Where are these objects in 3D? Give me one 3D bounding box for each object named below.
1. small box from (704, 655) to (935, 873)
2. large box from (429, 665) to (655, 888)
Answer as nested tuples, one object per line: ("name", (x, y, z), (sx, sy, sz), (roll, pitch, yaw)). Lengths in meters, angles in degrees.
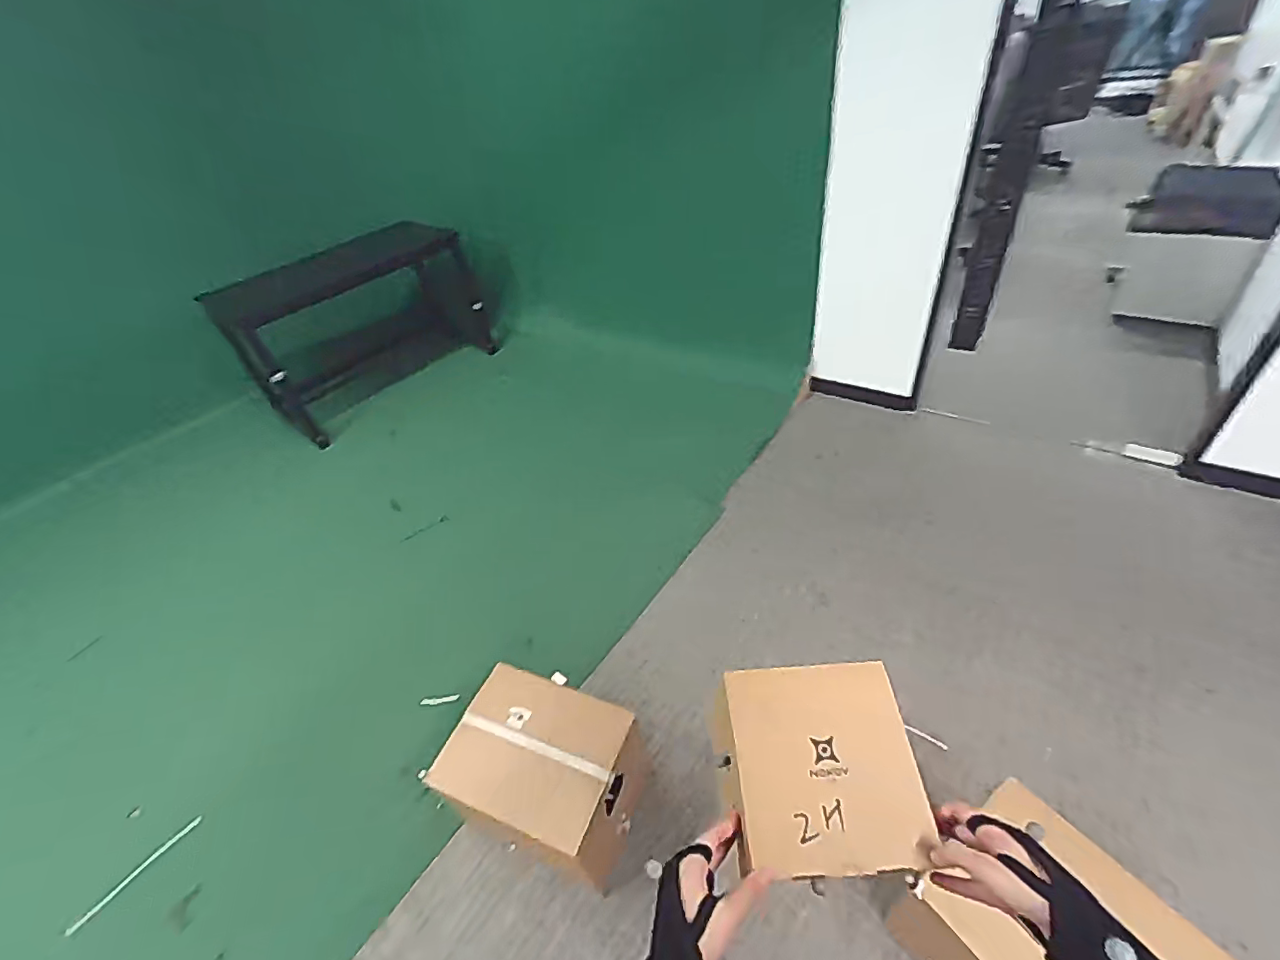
("small box", (0.164, 0.299, 0.565), (0.168, 0.176, 0.179), (-3, 55, -1))
("large box", (-0.215, 0.721, 1.335), (0.408, 0.320, 0.320), (10, 44, 23))
